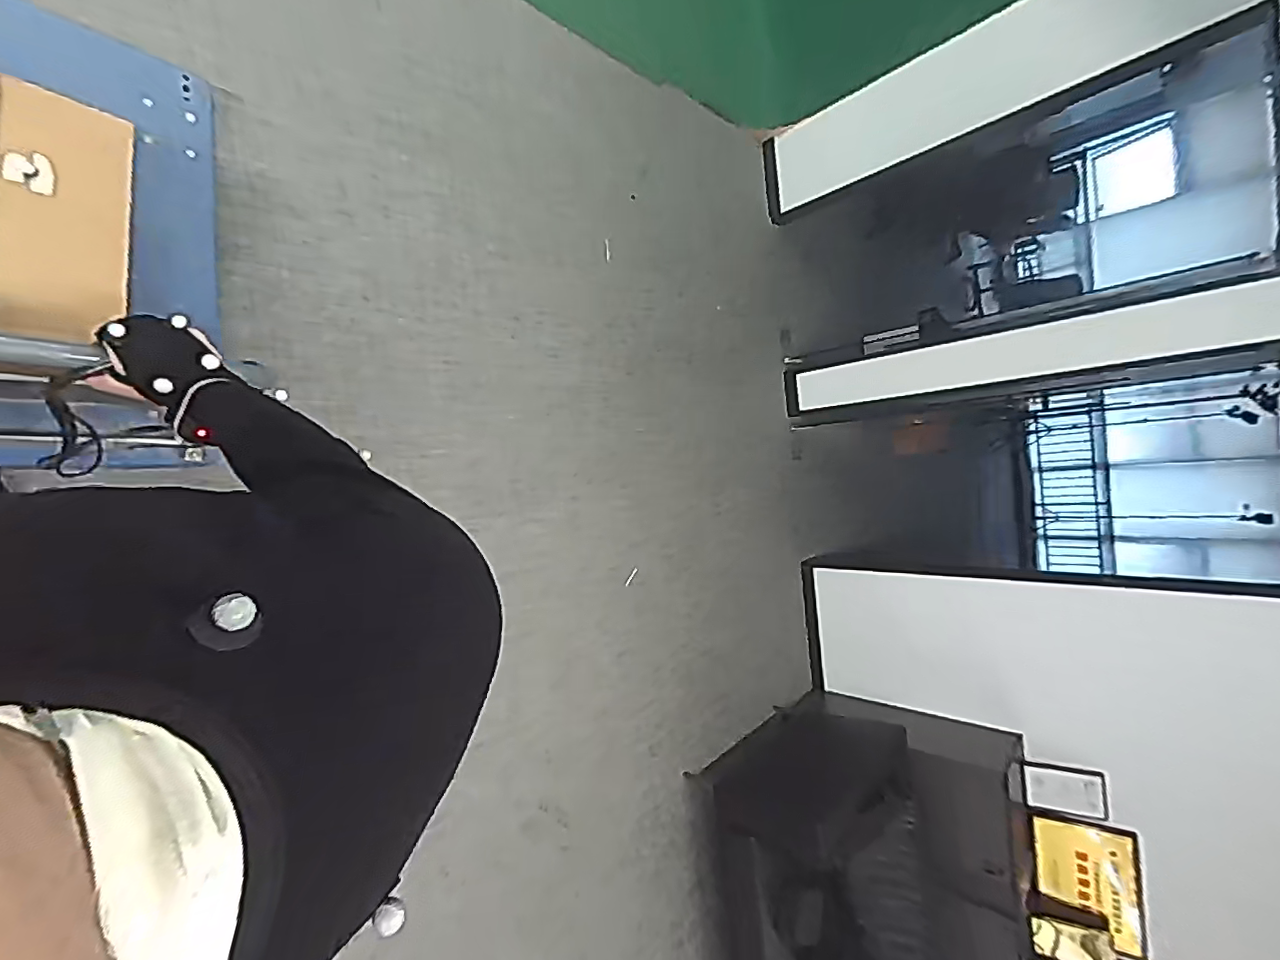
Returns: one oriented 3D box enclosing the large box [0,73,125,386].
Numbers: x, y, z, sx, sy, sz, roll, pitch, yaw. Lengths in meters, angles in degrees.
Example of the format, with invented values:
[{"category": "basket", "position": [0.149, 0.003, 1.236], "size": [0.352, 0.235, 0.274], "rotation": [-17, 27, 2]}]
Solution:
[{"category": "large box", "position": [-1.055, -0.390, 0.871], "size": [0.320, 0.320, 0.408], "rotation": [3, 84, -46]}]
